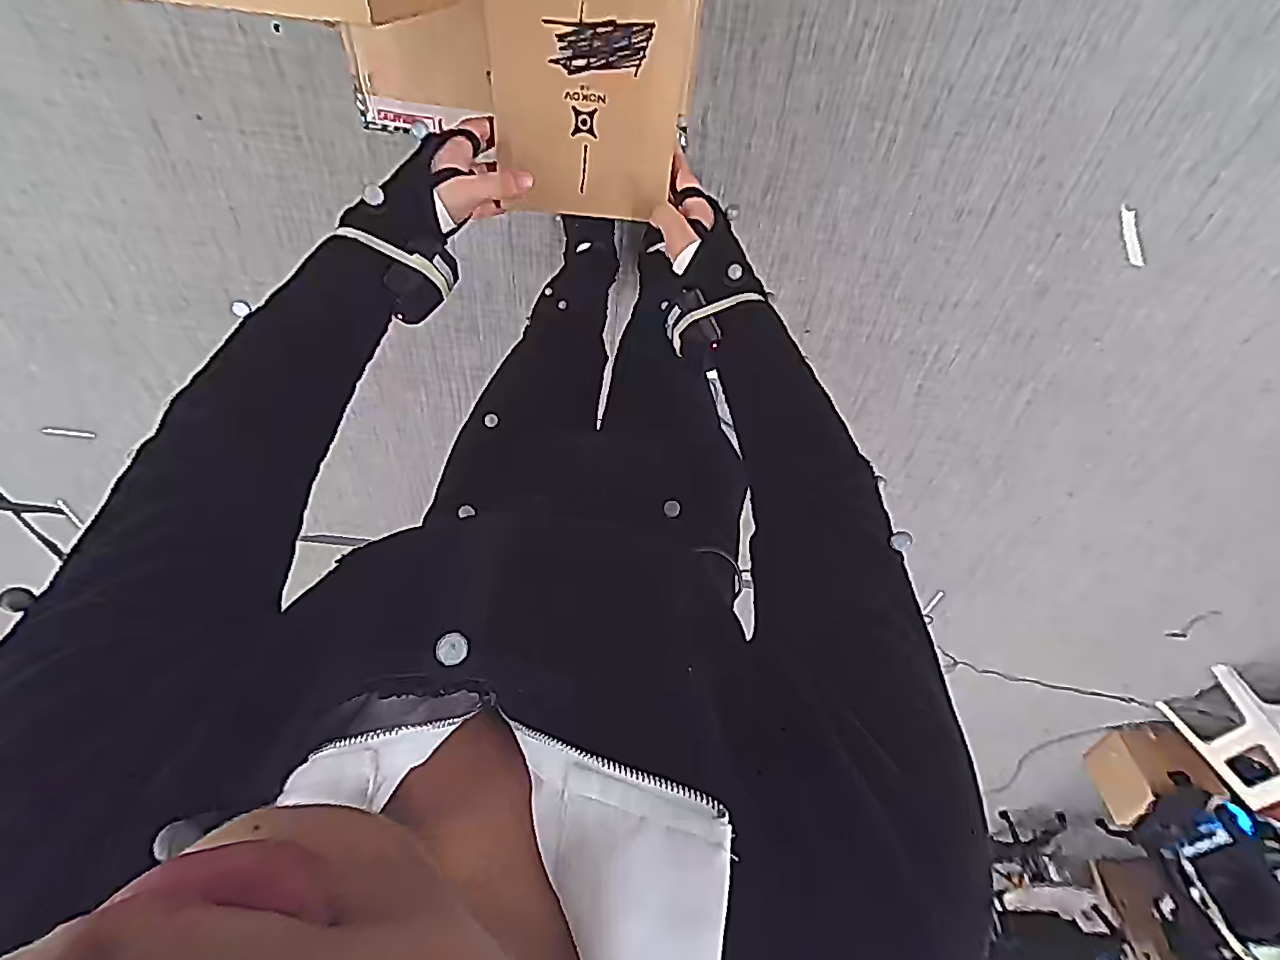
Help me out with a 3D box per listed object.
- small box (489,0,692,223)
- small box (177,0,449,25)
[{"bbox_3d":[-0.049,-0.380,0.539,0.168,0.176,0.179,4,131,-4],"label":"small box"},{"bbox_3d":[-0.225,-0.402,0.323,0.168,0.176,0.179,7,136,0],"label":"small box"}]
